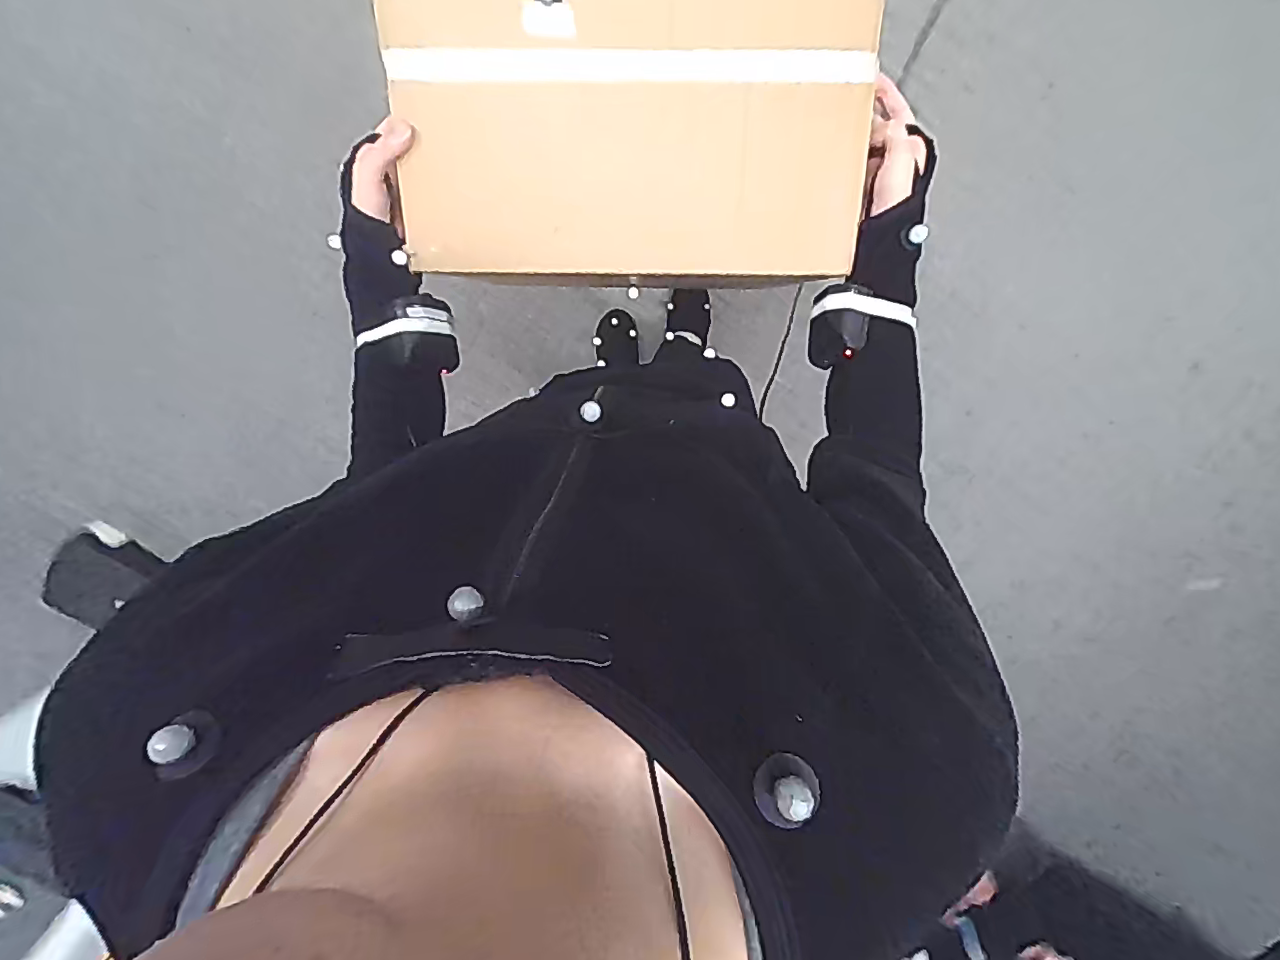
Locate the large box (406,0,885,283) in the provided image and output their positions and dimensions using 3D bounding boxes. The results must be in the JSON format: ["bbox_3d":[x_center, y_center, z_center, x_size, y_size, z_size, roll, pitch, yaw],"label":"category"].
[{"bbox_3d":[0.006,-0.388,0.602,0.408,0.320,0.320,2,107,0],"label":"large box"}]
